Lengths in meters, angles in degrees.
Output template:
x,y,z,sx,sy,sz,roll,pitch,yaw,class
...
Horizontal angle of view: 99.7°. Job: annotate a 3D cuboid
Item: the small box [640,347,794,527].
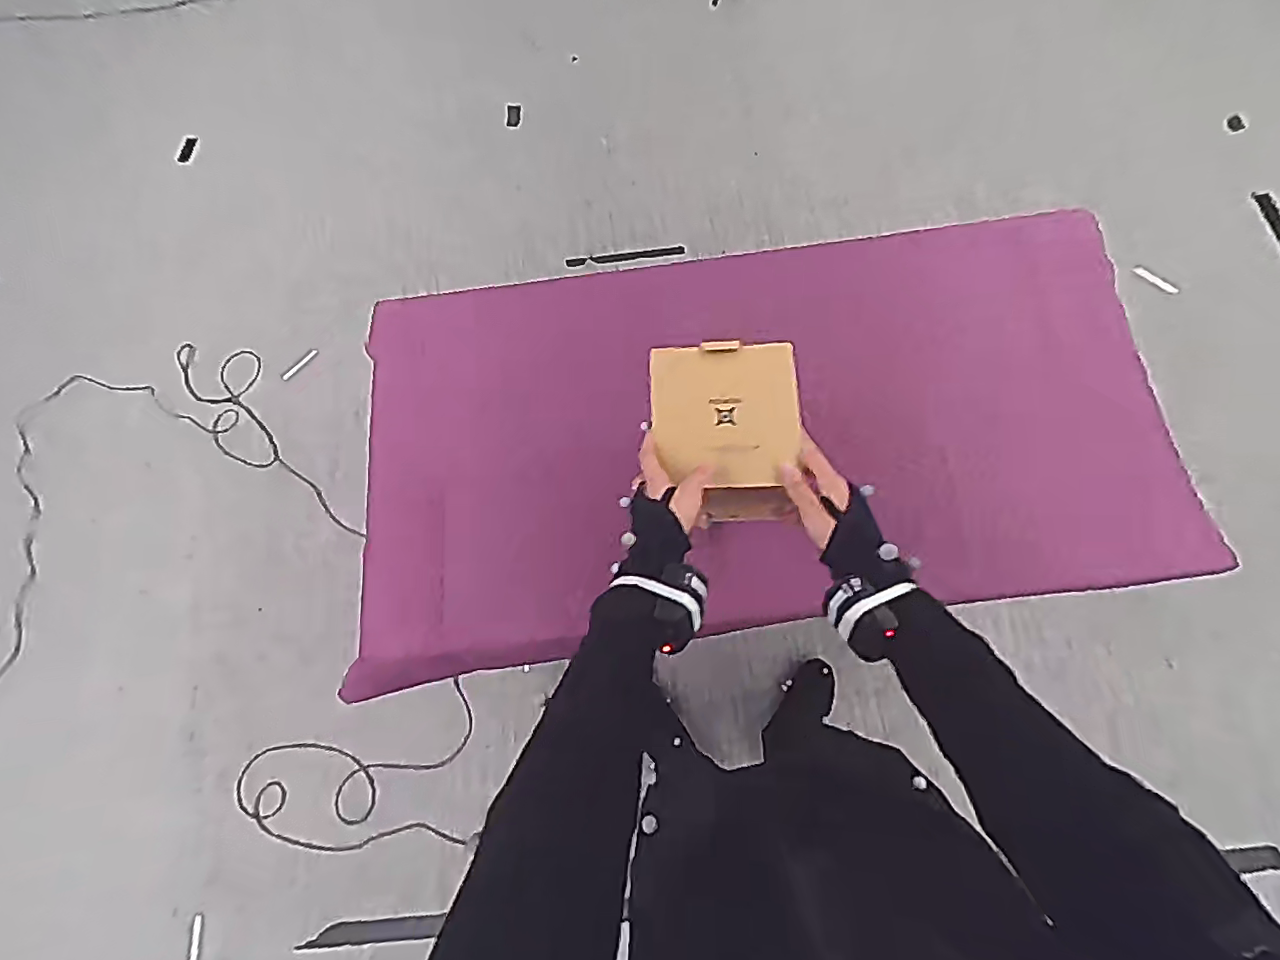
x,y,z,sx,sy,sz,roll,pitch,yaw,class
0.084,-0.045,0.673,0.168,0.176,0.179,-1,73,2,small box
